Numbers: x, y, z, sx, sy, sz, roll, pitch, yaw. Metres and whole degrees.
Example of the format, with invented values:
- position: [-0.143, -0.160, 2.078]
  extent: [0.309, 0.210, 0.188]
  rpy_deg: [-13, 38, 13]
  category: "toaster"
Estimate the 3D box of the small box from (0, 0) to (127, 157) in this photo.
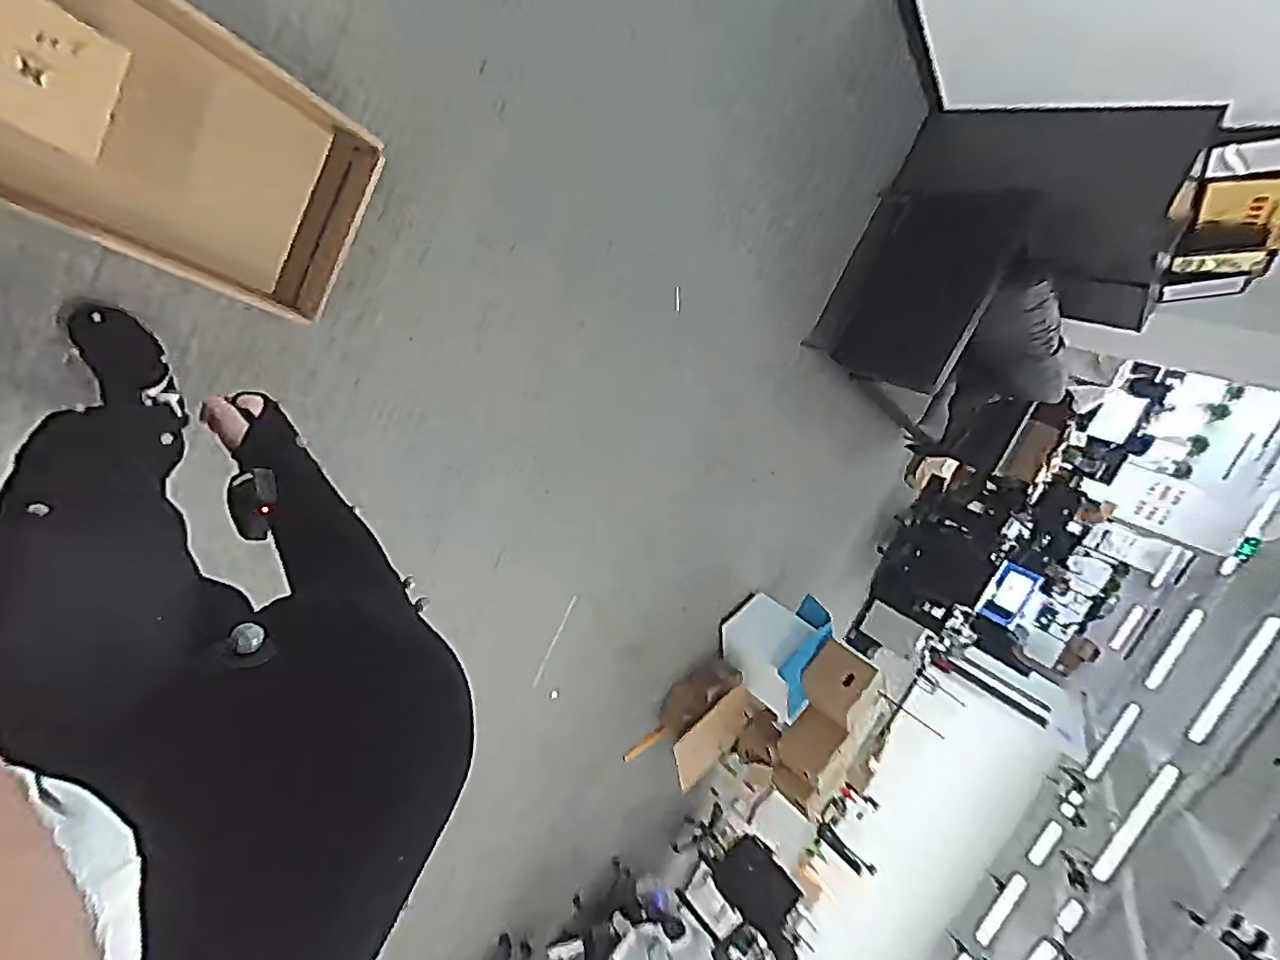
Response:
- position: [-0.893, -0.611, 0.790]
  extent: [0.168, 0.176, 0.179]
  rpy_deg: [17, 101, -52]
  category: "small box"
